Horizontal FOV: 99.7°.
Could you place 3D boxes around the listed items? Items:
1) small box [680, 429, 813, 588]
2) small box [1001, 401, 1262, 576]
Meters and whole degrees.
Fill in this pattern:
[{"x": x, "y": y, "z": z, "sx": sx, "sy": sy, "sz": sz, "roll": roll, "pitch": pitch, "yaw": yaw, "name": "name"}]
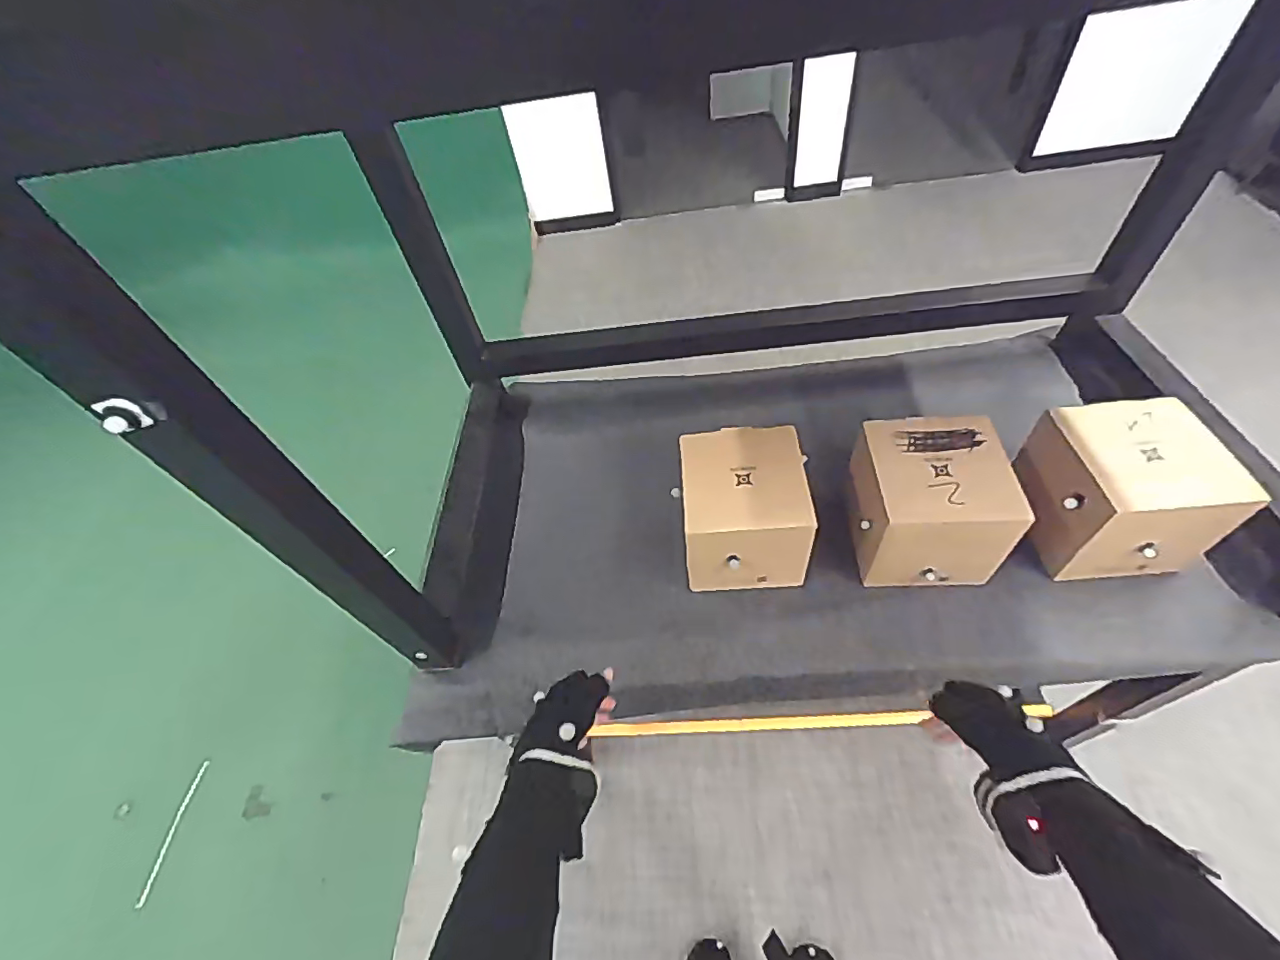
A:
[{"x": 0.149, "y": 0.049, "z": 0.796, "sx": 0.168, "sy": 0.176, "sz": 0.179, "roll": -4, "pitch": 51, "yaw": 6, "name": "small box"}, {"x": 0.639, "y": 0.020, "z": 0.735, "sx": 0.168, "sy": 0.176, "sz": 0.179, "roll": -5, "pitch": 50, "yaw": 5, "name": "small box"}]
